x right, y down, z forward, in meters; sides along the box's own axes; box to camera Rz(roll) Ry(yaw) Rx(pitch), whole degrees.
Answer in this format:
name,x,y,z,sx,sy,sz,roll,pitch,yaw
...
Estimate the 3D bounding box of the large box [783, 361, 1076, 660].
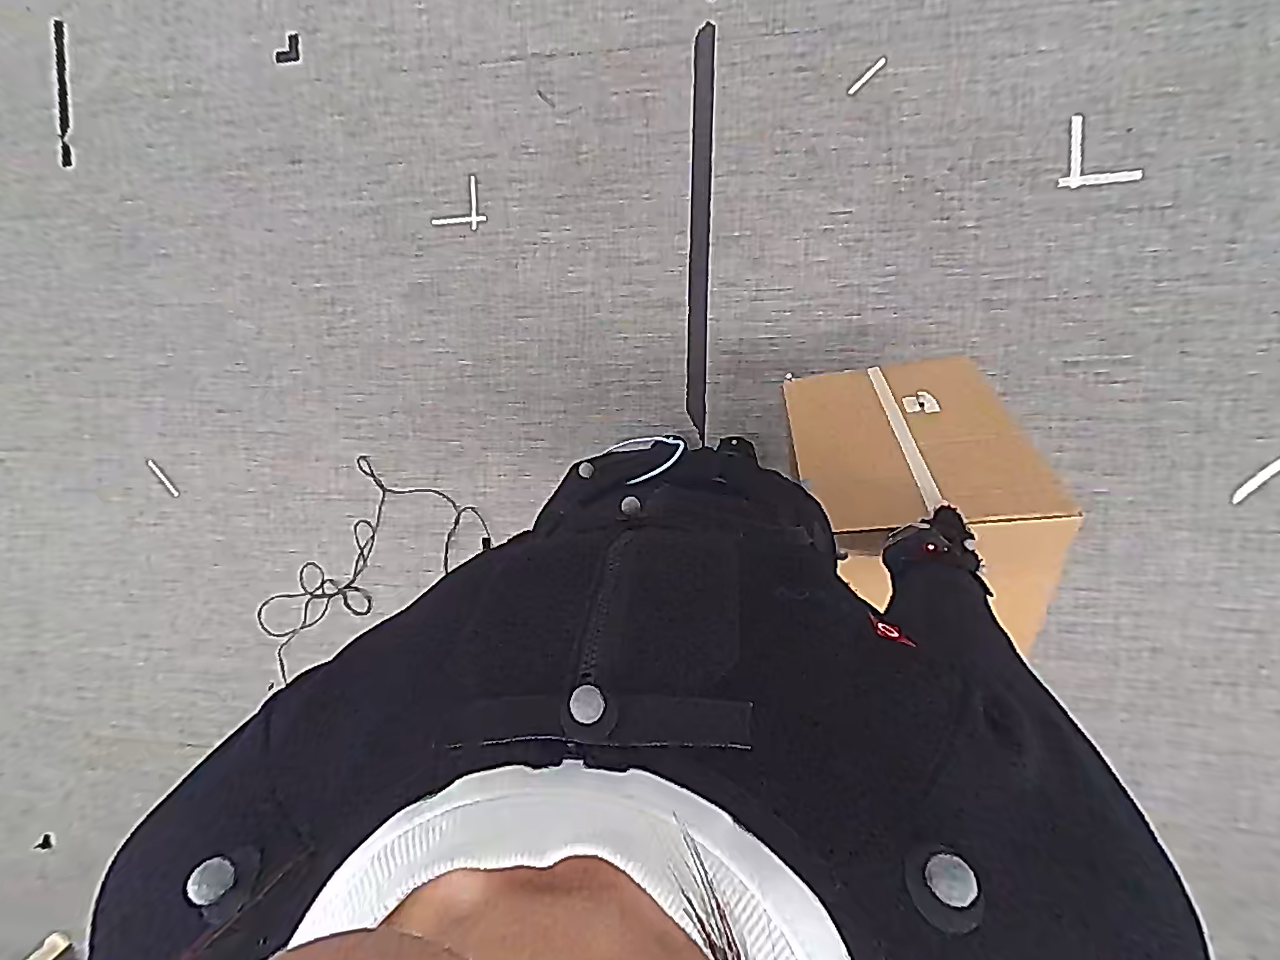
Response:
name,x,y,z,sx,sy,sz,roll,pitch,yaw
large box,0.433,0.045,0.924,0.320,0.408,0.320,-5,128,12
